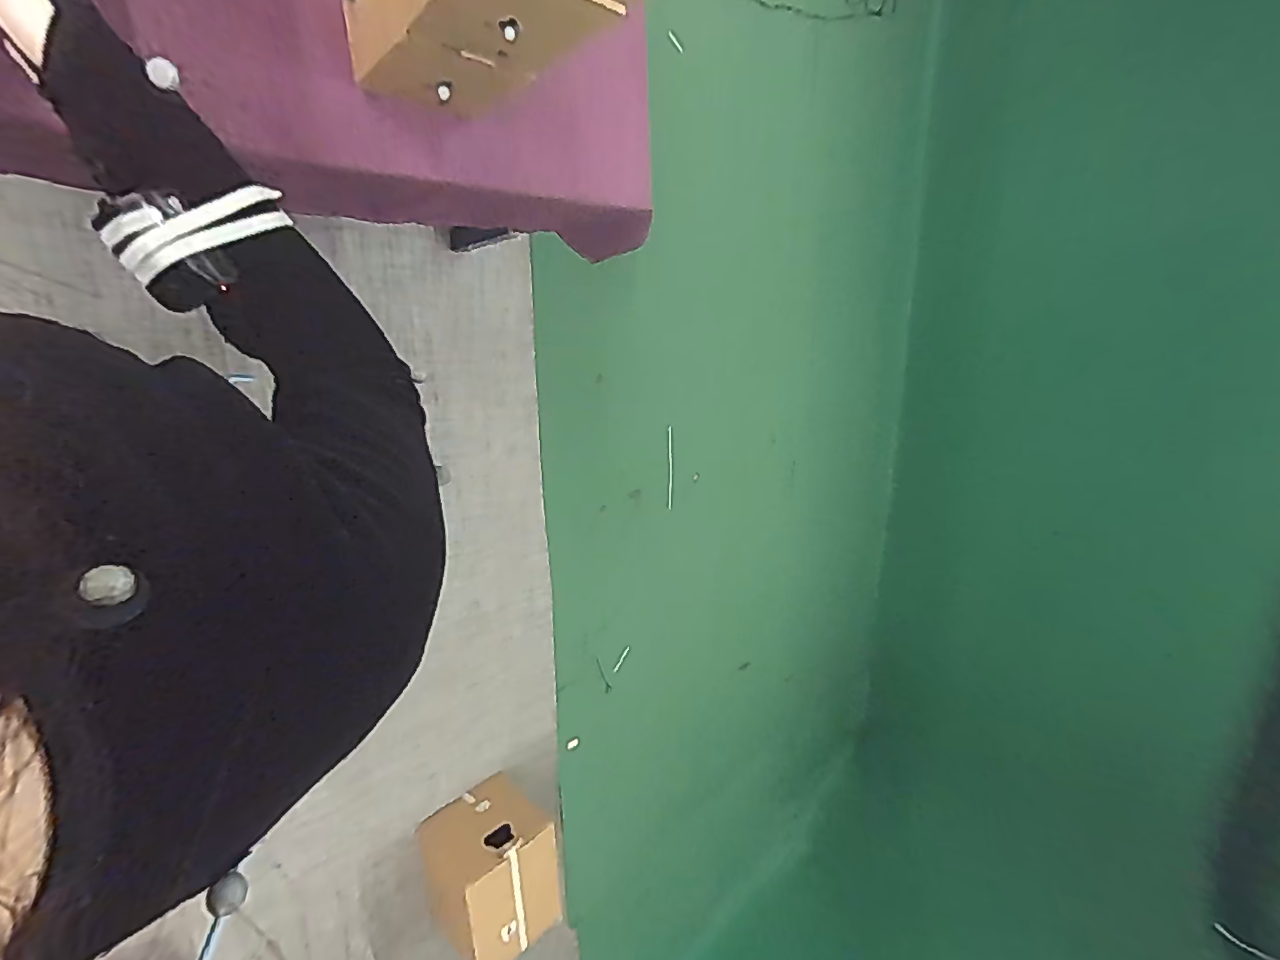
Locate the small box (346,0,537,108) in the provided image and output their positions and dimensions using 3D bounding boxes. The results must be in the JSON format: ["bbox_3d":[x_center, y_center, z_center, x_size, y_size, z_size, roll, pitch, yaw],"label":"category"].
[{"bbox_3d":[-0.245,-0.588,0.659,0.168,0.176,0.179,-17,112,-42],"label":"small box"}]

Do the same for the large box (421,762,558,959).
[{"bbox_3d":[-0.503,1.264,1.818,0.320,0.320,0.408,-16,113,-43],"label":"large box"}]

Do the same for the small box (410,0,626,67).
[{"bbox_3d":[-0.132,-0.559,0.542,0.168,0.176,0.179,-17,111,-42],"label":"small box"}]
